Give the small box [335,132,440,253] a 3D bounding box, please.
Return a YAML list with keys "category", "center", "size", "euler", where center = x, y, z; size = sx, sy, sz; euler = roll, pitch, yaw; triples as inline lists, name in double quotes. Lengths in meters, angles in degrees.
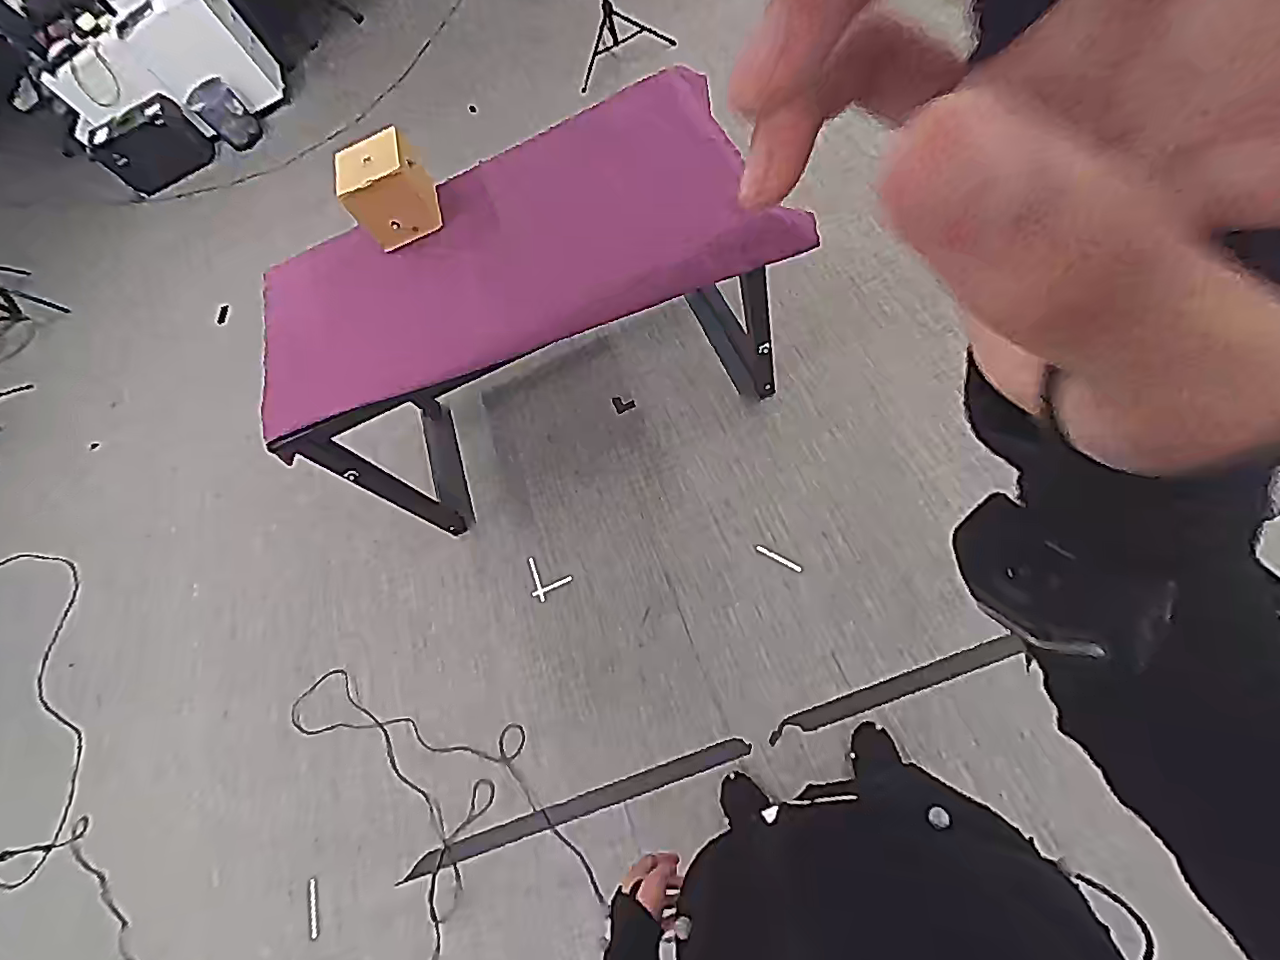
- category: "small box"
  center: [-0.618, -0.702, 1.332]
  size: [0.168, 0.176, 0.179]
  euler: [-22, 63, 6]
